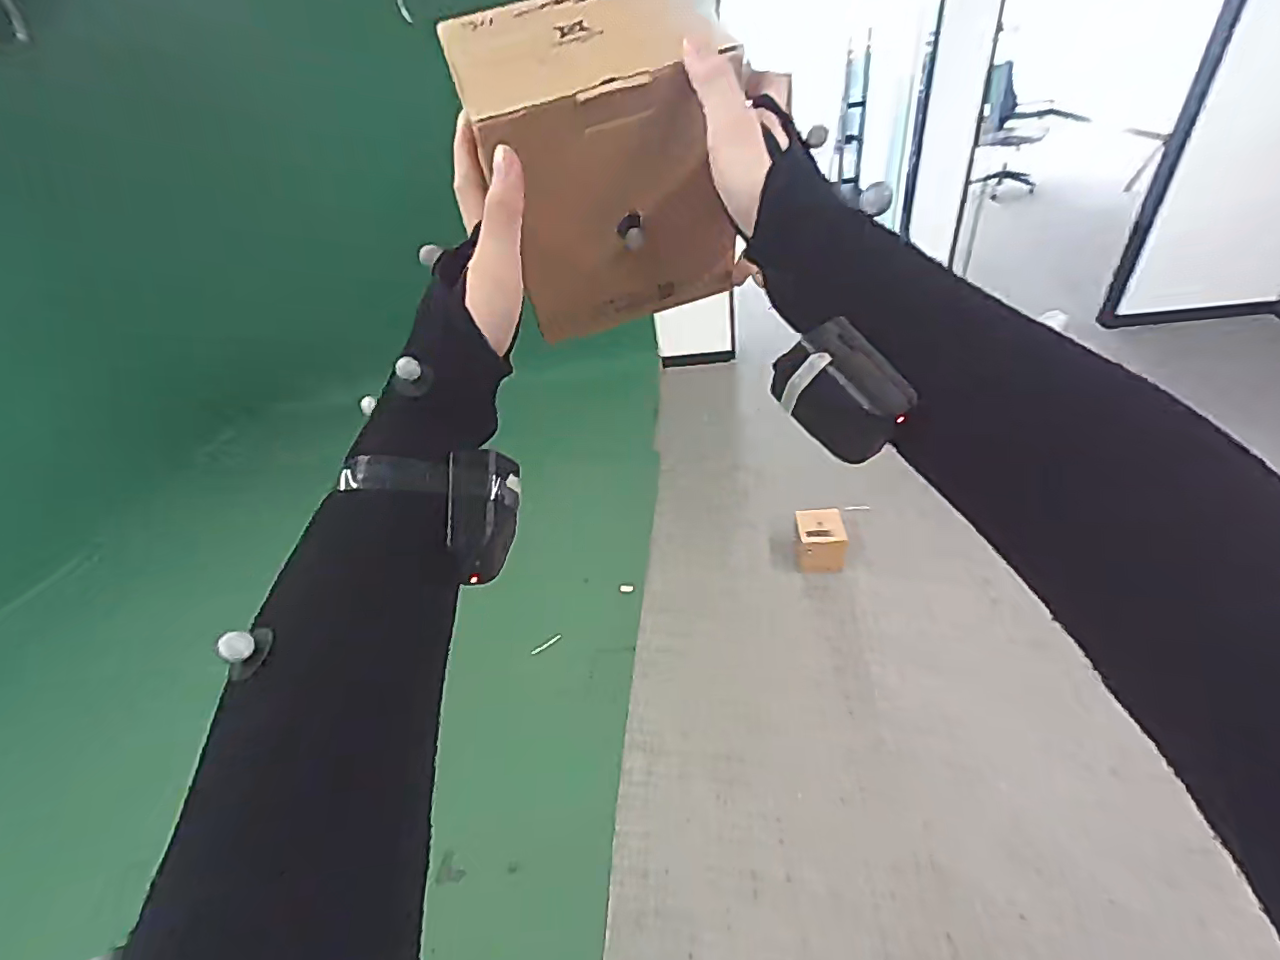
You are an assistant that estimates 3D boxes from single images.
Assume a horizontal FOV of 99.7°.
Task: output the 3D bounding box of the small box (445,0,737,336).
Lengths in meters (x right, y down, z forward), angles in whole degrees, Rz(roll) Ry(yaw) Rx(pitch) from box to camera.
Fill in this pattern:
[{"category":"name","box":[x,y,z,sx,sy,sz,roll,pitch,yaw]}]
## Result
[{"category":"small box","box":[-0.033,-0.235,0.423,0.168,0.176,0.179,-18,56,-5]}]
